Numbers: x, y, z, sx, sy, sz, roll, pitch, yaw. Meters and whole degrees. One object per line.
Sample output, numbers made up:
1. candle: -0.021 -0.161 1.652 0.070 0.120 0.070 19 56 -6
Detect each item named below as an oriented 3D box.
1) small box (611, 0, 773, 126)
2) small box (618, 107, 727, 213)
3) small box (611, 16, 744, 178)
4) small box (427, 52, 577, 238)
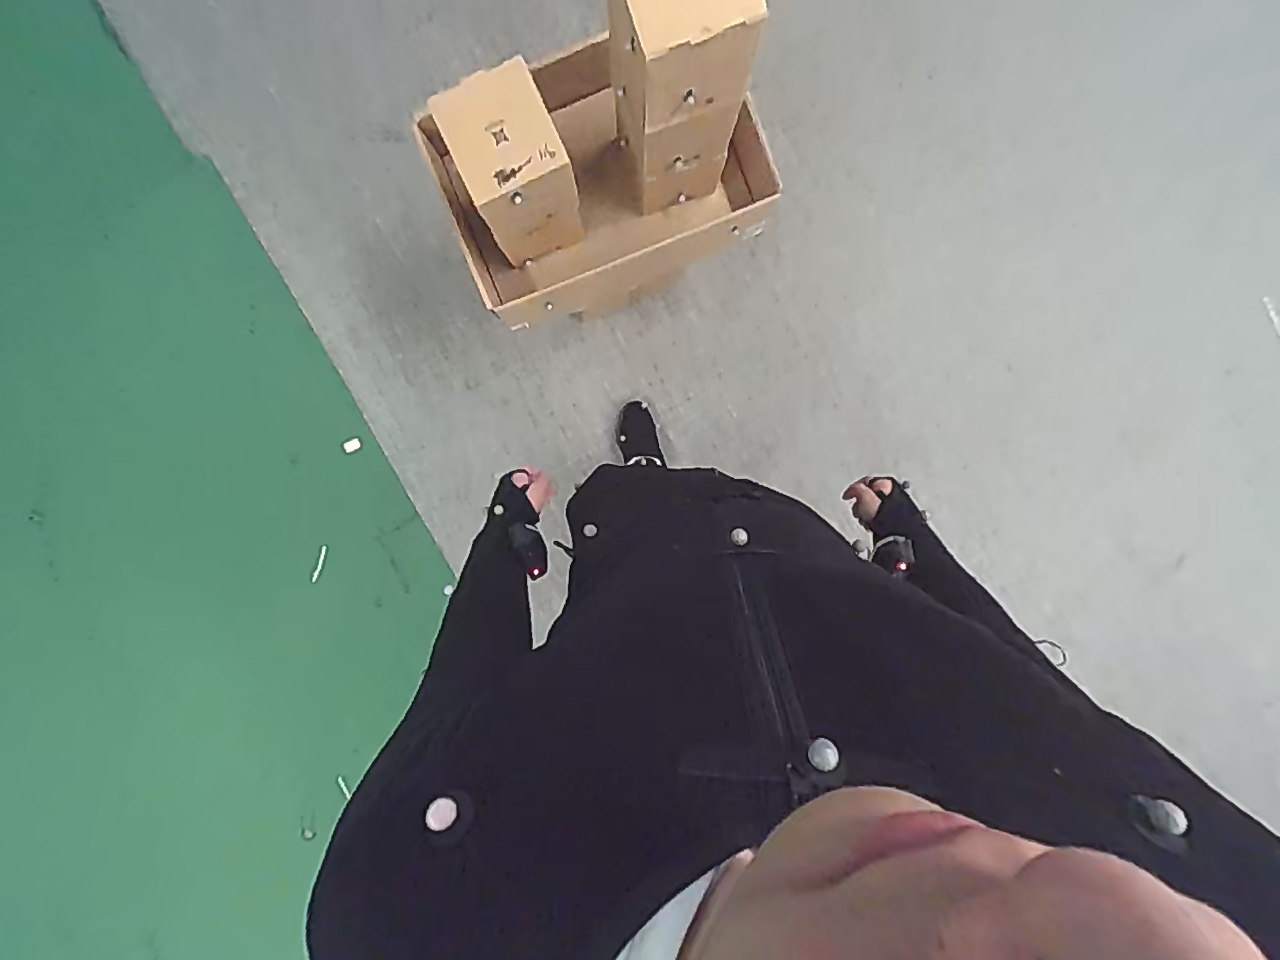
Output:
1. small box: 0.058 -0.634 0.735 0.168 0.176 0.179 -19 95 1
2. small box: 0.056 -0.661 1.059 0.168 0.176 0.179 -18 95 1
3. small box: 0.055 -0.645 0.897 0.168 0.176 0.179 -19 95 1
4. small box: -0.217 -0.540 0.898 0.168 0.176 0.179 -25 94 2
